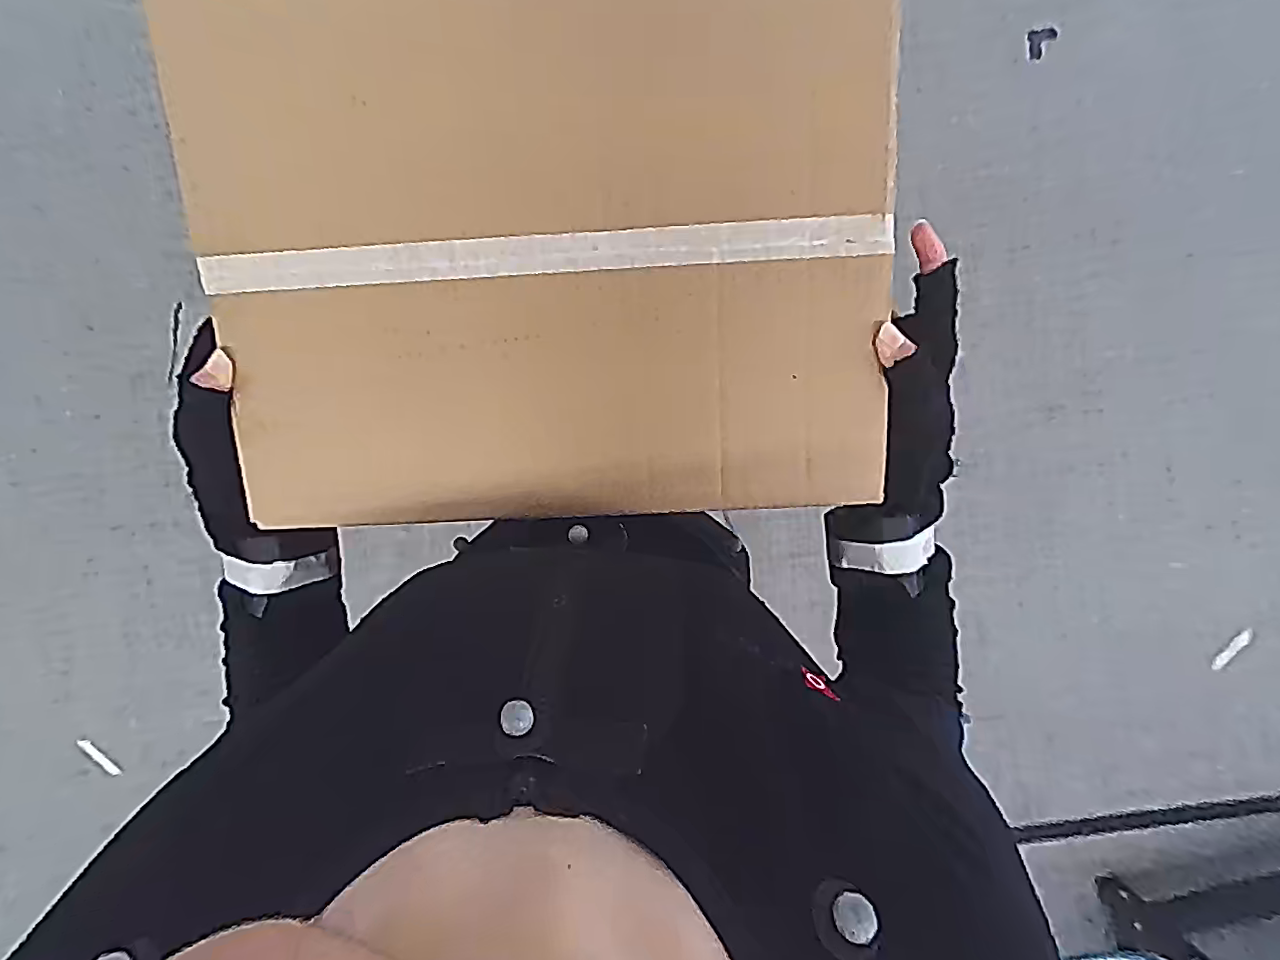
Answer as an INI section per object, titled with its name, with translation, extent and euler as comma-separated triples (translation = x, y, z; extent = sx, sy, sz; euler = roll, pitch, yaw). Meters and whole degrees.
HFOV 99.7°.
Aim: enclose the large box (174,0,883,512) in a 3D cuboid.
[large box]
translation = -0.056, -0.169, 0.471
extent = 0.408, 0.320, 0.320
euler = -3, 102, 2
